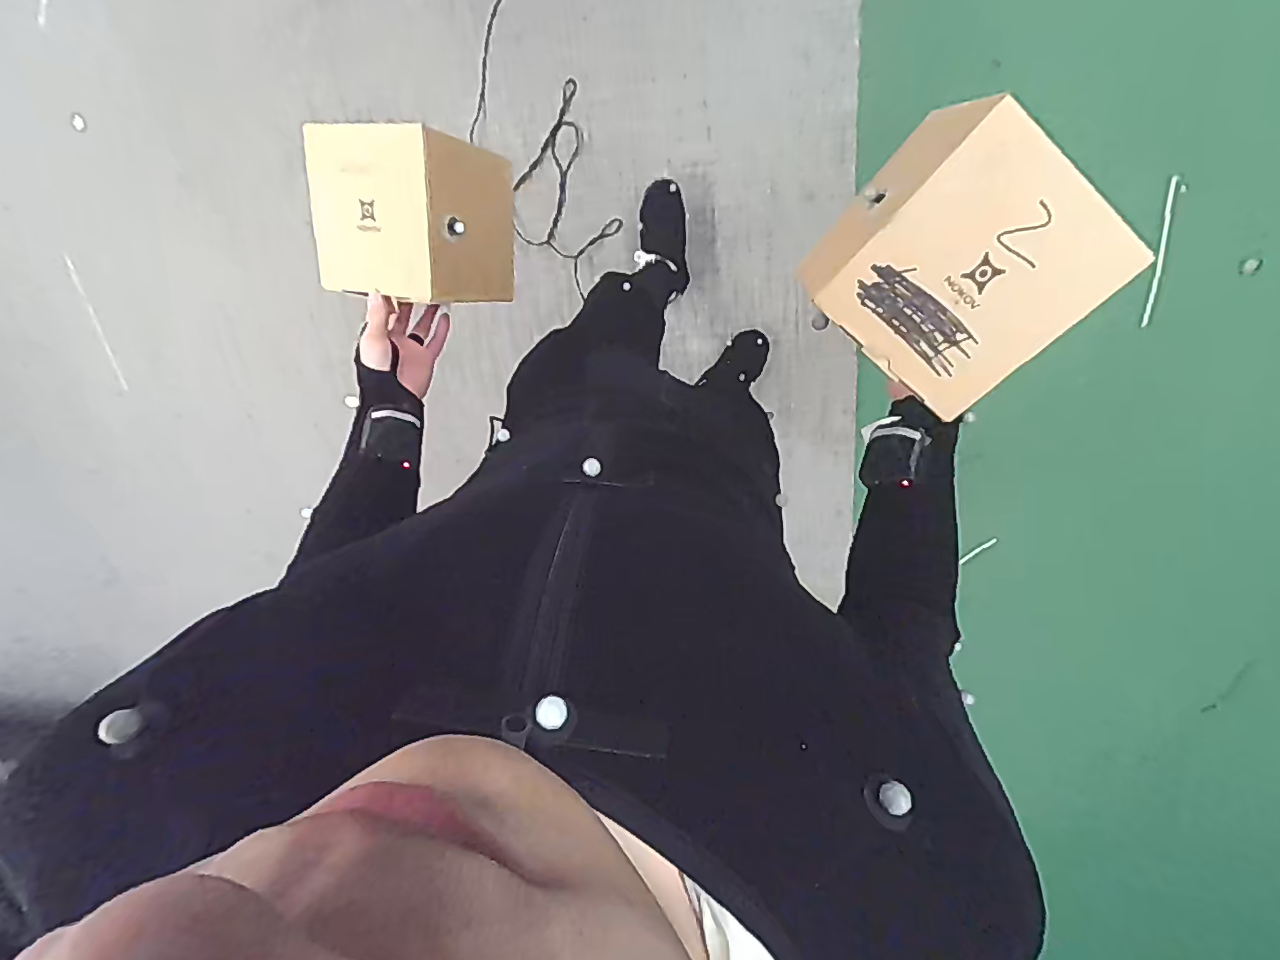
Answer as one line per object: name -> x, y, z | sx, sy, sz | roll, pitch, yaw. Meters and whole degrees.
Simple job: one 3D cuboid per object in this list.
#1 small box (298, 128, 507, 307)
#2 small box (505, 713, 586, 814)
small box -> -0.279, -0.317, 0.672 | 0.168, 0.176, 0.179 | 12, 112, 17
small box -> -0.253, 0.778, 1.493 | 0.168, 0.176, 0.179 | 0, 109, 11
